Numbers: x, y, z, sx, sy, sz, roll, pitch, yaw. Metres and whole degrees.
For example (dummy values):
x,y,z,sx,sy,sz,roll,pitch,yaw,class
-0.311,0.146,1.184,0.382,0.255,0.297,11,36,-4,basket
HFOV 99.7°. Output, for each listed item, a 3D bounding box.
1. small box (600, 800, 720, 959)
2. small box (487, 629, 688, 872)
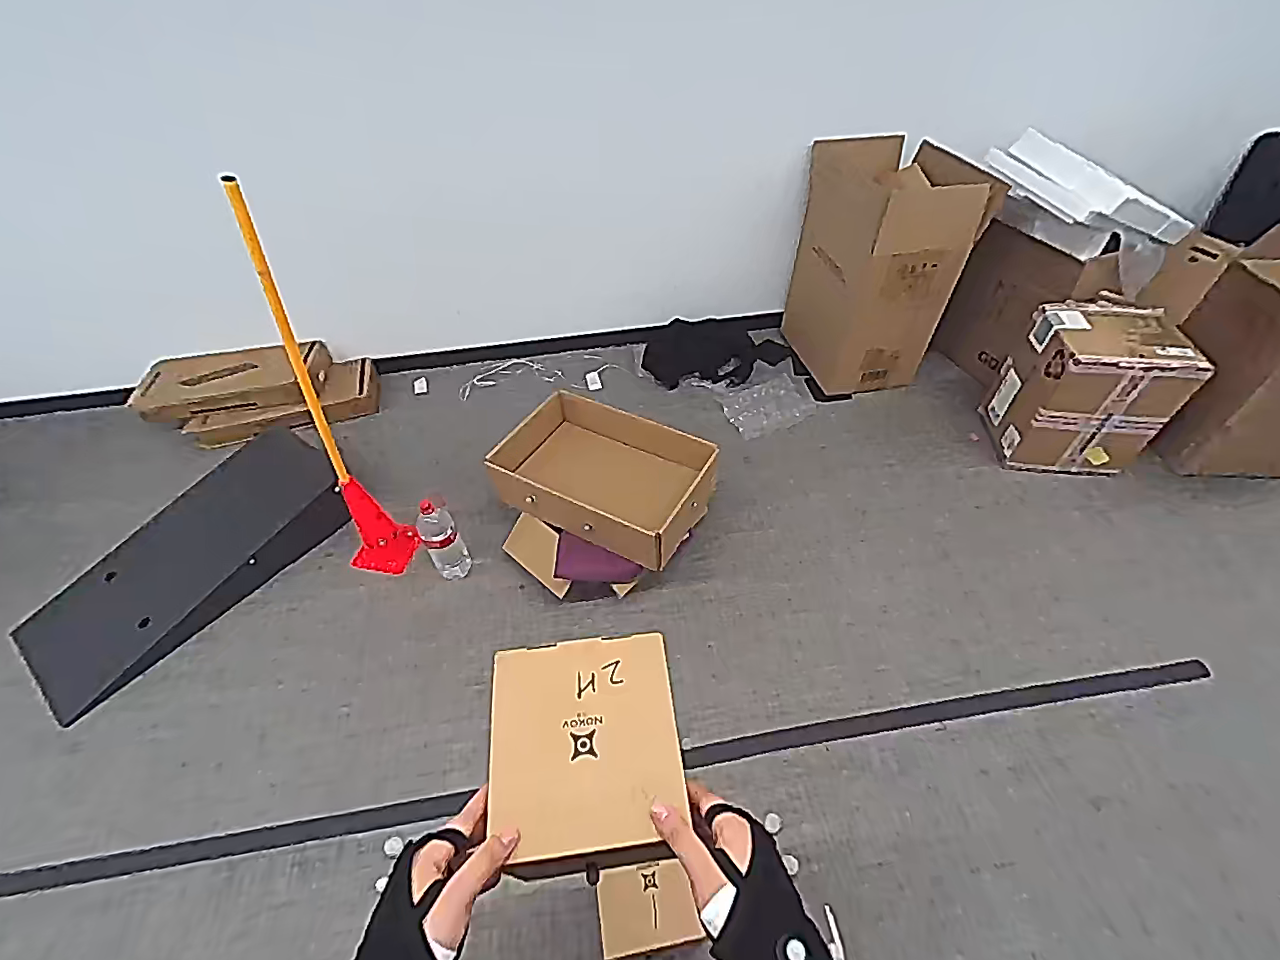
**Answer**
x,y,z,sx,sy,sz,roll,pitch,yaw,class
0.023,0.656,0.884,0.168,0.176,0.179,-9,47,-6,small box
-0.048,0.274,0.540,0.168,0.176,0.179,-7,50,-4,small box
